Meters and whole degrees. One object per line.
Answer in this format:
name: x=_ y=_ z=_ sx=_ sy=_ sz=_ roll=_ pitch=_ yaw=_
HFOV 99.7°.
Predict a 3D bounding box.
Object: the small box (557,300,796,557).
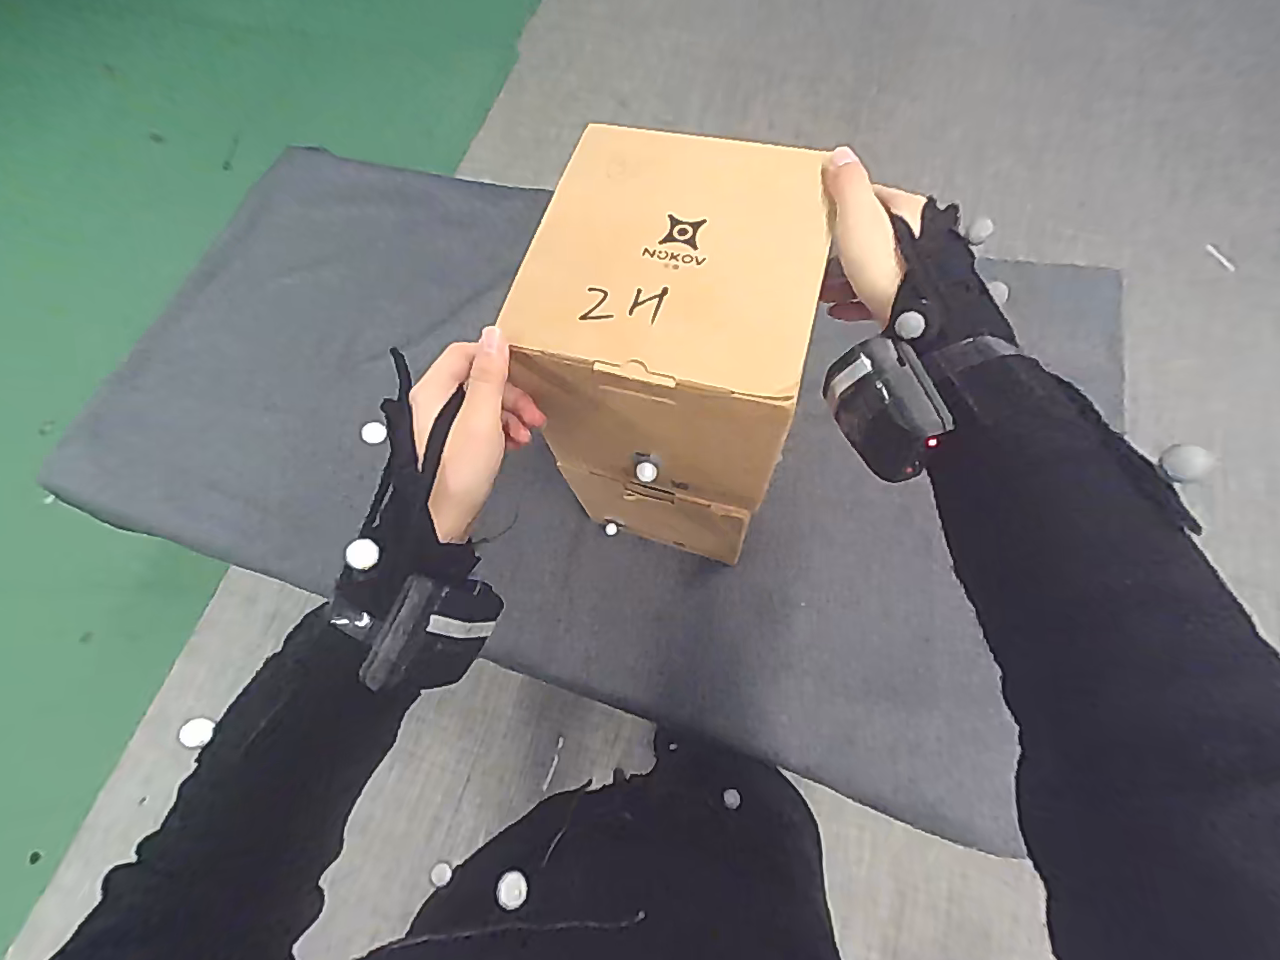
small box: x=0.042 y=-0.040 z=0.533 sx=0.168 sy=0.176 sz=0.179 roll=16 pitch=71 yaw=12
